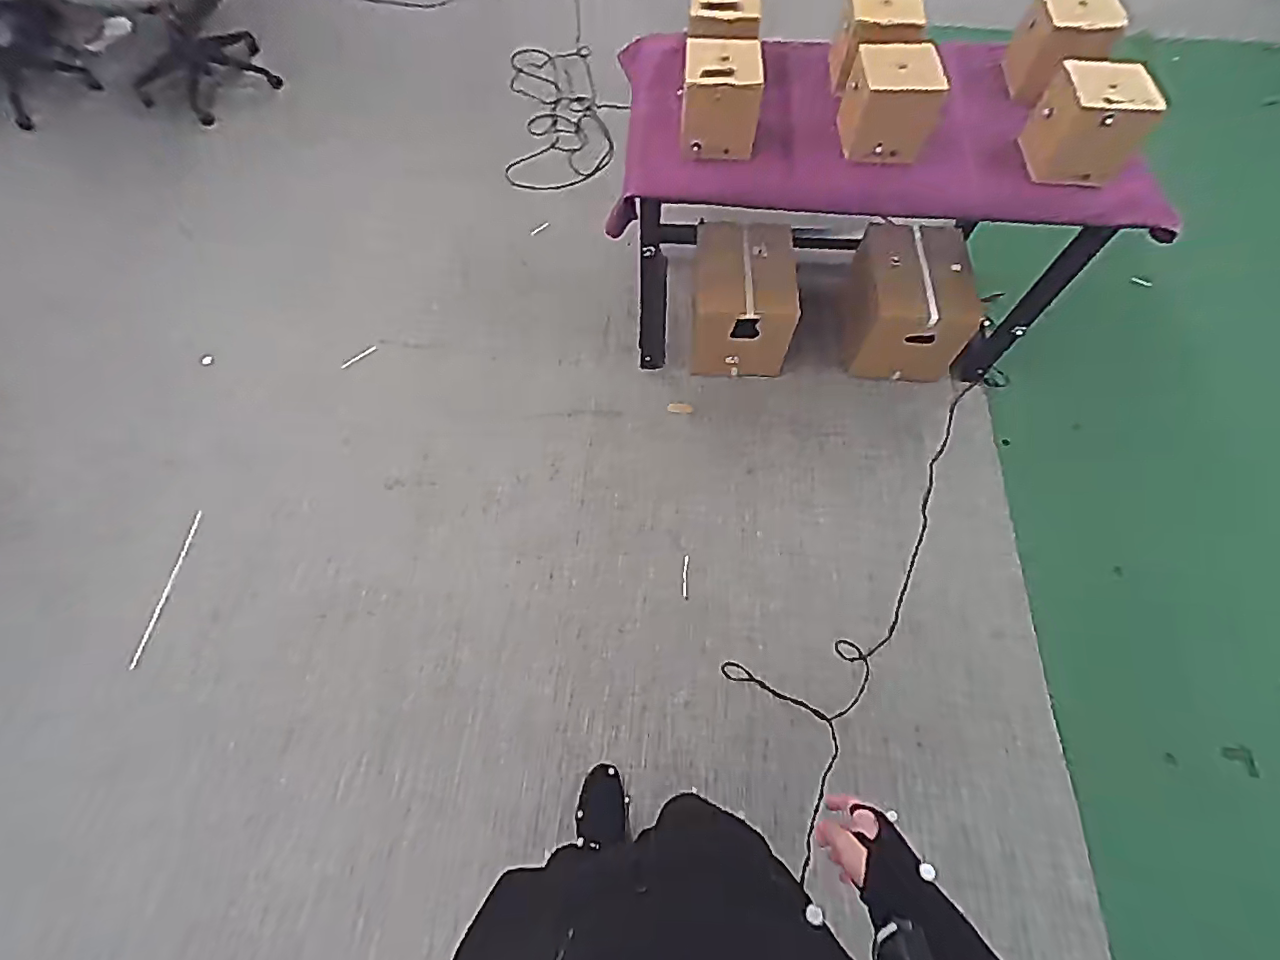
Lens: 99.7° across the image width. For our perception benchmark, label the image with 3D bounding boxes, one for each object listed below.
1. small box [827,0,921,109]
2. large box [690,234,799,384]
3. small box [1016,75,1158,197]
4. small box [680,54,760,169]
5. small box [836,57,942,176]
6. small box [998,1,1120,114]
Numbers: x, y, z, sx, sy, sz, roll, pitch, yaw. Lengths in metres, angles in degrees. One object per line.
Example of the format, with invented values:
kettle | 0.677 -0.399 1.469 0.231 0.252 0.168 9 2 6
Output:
small box | 0.584 -1.076 1.374 0.168 0.176 0.179 4 65 2
large box | 0.338 -0.581 1.868 0.320 0.320 0.408 2 63 1
small box | 0.986 -0.771 1.215 0.168 0.176 0.179 5 62 5
small box | 0.183 -0.858 1.268 0.168 0.176 0.179 2 62 1
small box | 0.567 -0.843 1.258 0.168 0.176 0.179 2 63 3
small box | 1.031 -1.052 1.351 0.168 0.176 0.179 4 65 5
